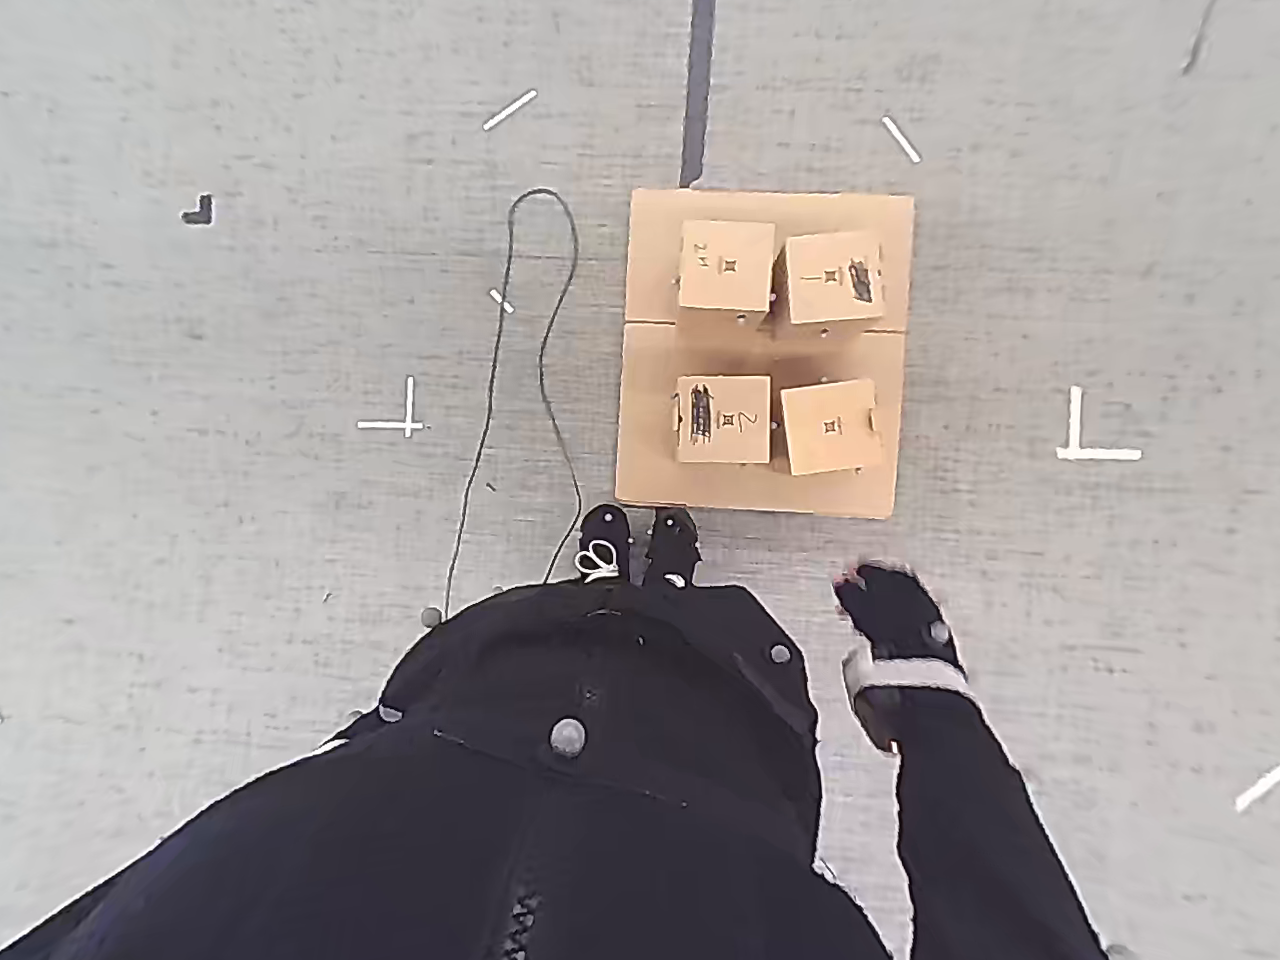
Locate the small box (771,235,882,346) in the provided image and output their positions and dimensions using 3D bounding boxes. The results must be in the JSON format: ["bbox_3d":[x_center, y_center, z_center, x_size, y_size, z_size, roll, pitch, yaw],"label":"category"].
[{"bbox_3d":[0.371,-0.377,1.100,0.179,0.176,0.168,-4,91,4],"label":"small box"}]

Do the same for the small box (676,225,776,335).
[{"bbox_3d":[0.170,-0.402,1.113,0.179,0.176,0.168,5,91,3],"label":"small box"}]
